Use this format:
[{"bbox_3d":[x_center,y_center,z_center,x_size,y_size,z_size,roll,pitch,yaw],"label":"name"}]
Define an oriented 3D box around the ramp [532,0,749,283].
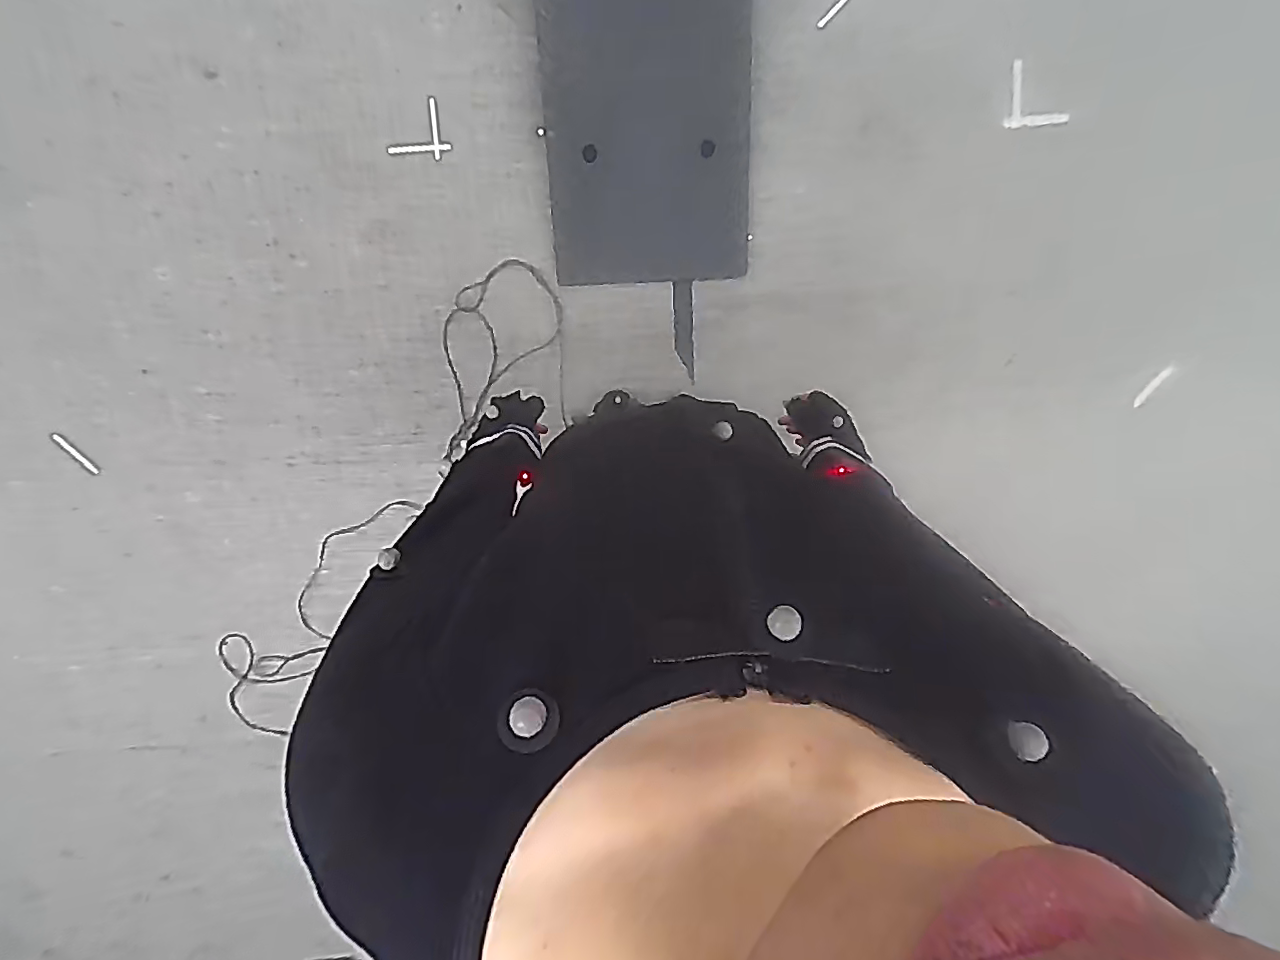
[{"bbox_3d":[0.007,-0.993,1.235,0.509,0.206,0.991,-5,100,-3],"label":"ramp"}]
